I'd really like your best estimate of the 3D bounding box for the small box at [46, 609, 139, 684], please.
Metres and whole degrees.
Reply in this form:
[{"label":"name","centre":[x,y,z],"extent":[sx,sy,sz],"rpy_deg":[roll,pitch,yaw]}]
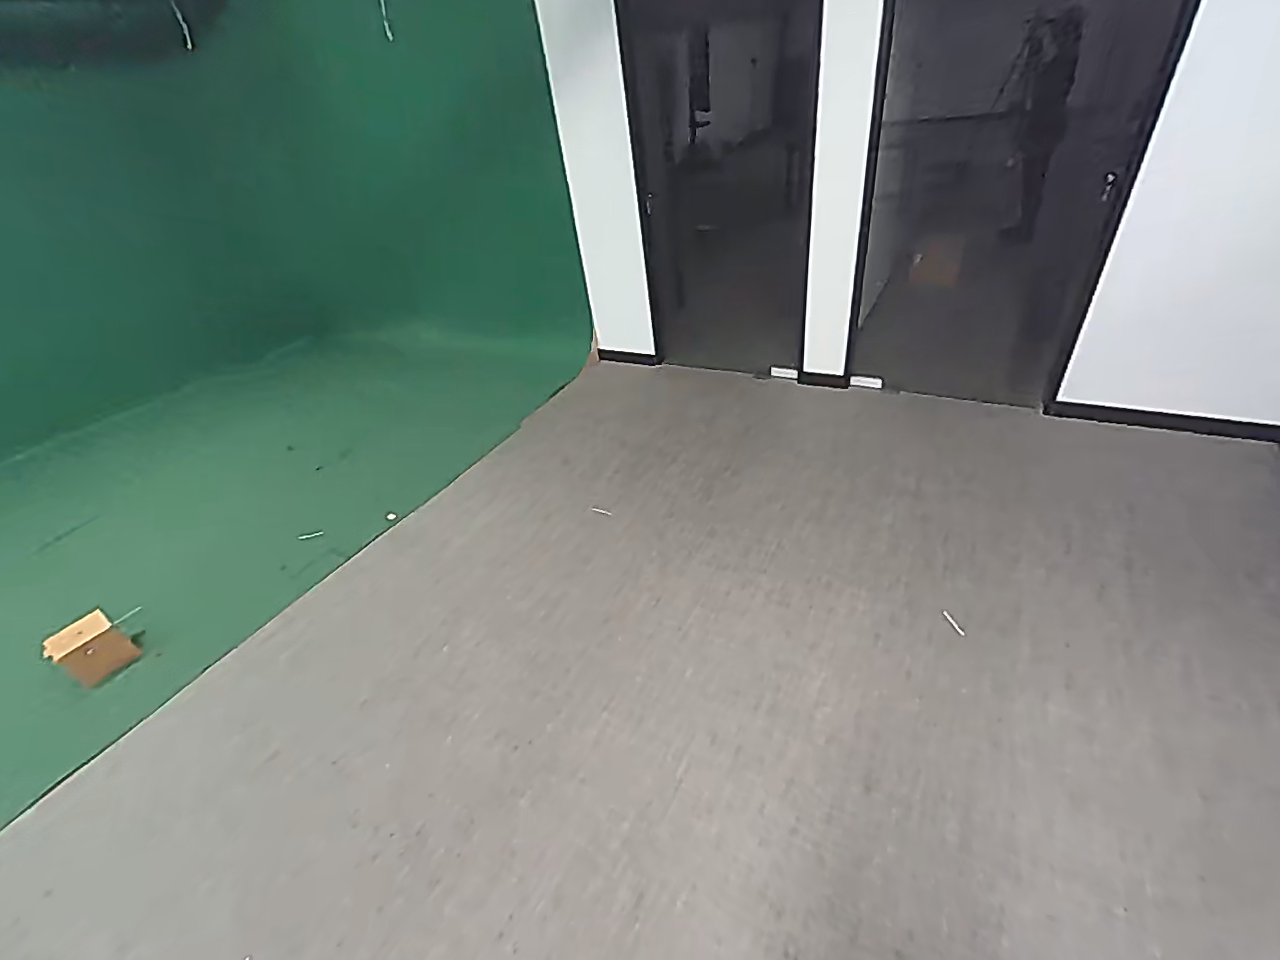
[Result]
[{"label":"small box","centre":[-2.040,0.624,2.027],"extent":[0.168,0.176,0.179],"rpy_deg":[17,43,30]}]
